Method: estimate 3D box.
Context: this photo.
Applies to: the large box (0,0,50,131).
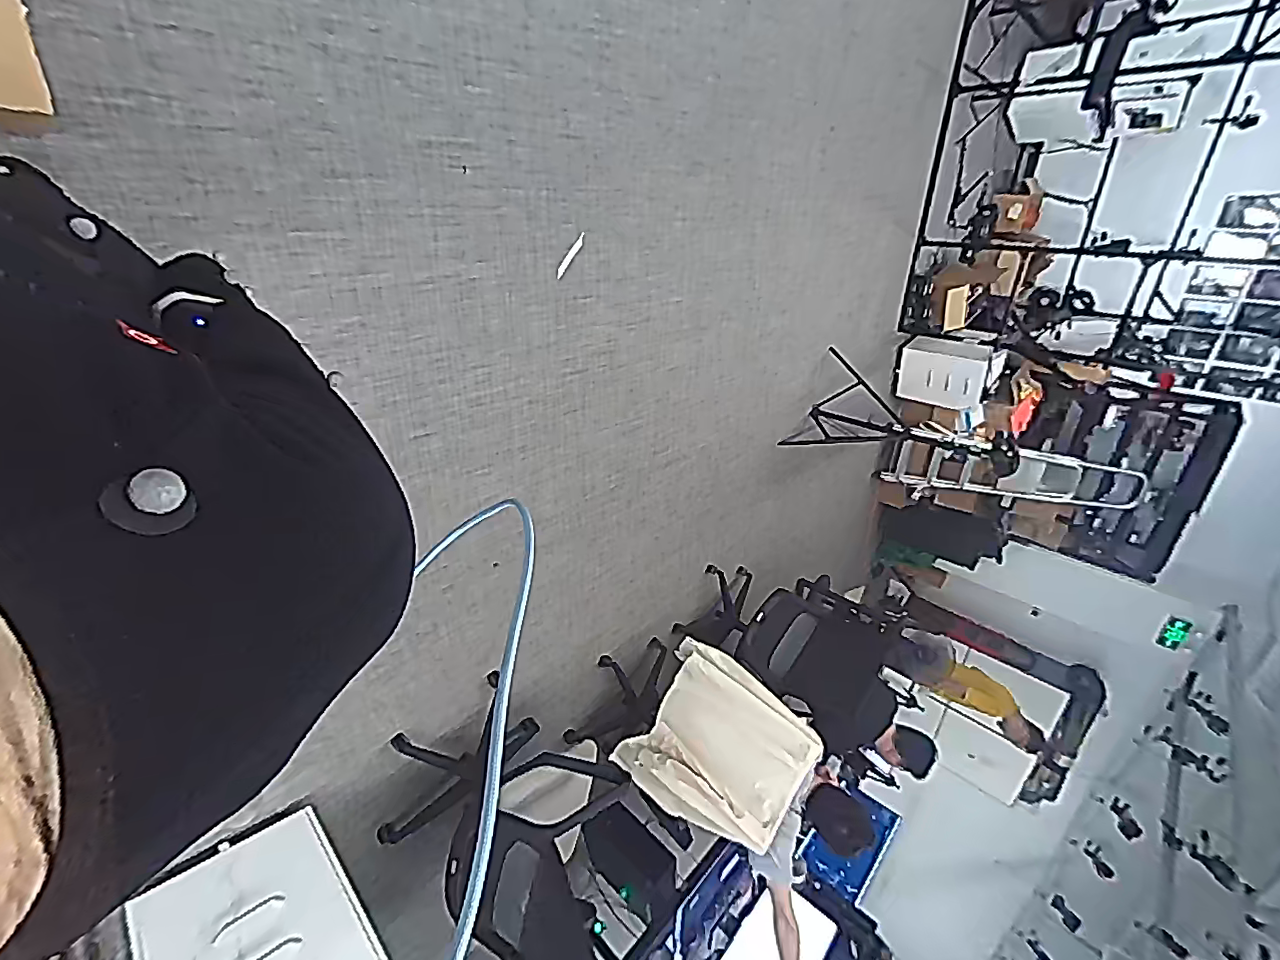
[{"bbox_3d":[-0.981,-0.589,0.578,0.408,0.320,0.320,-21,123,-43],"label":"large box"}]
